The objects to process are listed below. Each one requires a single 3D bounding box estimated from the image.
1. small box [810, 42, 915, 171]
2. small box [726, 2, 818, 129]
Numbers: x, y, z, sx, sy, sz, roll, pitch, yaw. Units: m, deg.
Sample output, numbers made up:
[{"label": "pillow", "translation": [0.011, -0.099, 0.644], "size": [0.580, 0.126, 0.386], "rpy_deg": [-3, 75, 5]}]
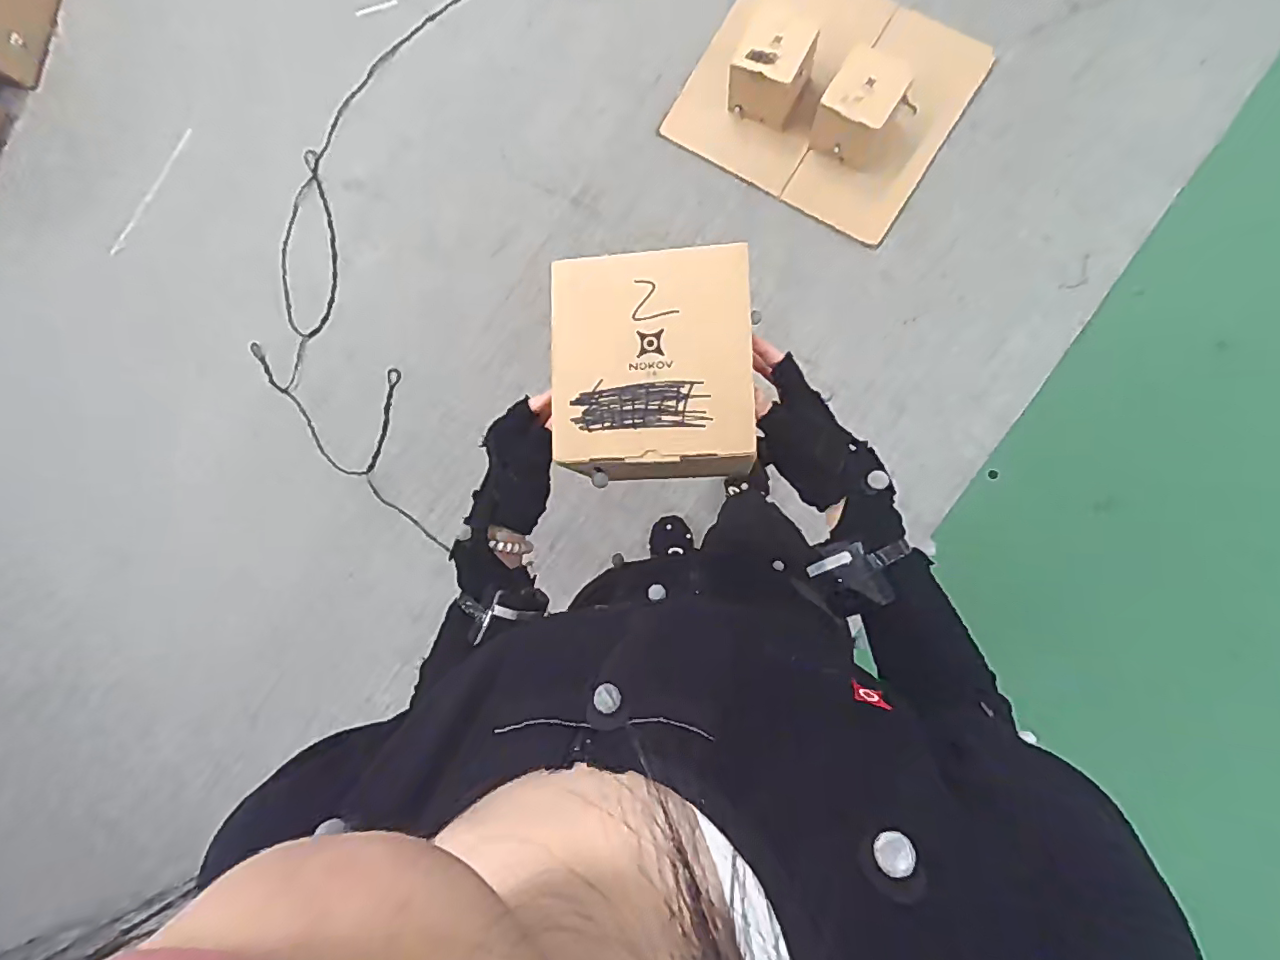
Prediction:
[{"label": "small box", "translation": [0.553, -0.941, 1.377], "size": [0.168, 0.176, 0.179], "rpy_deg": [32, 92, 8]}, {"label": "small box", "translation": [0.337, -1.066, 1.405], "size": [0.168, 0.176, 0.179], "rpy_deg": [28, 91, 8]}]
